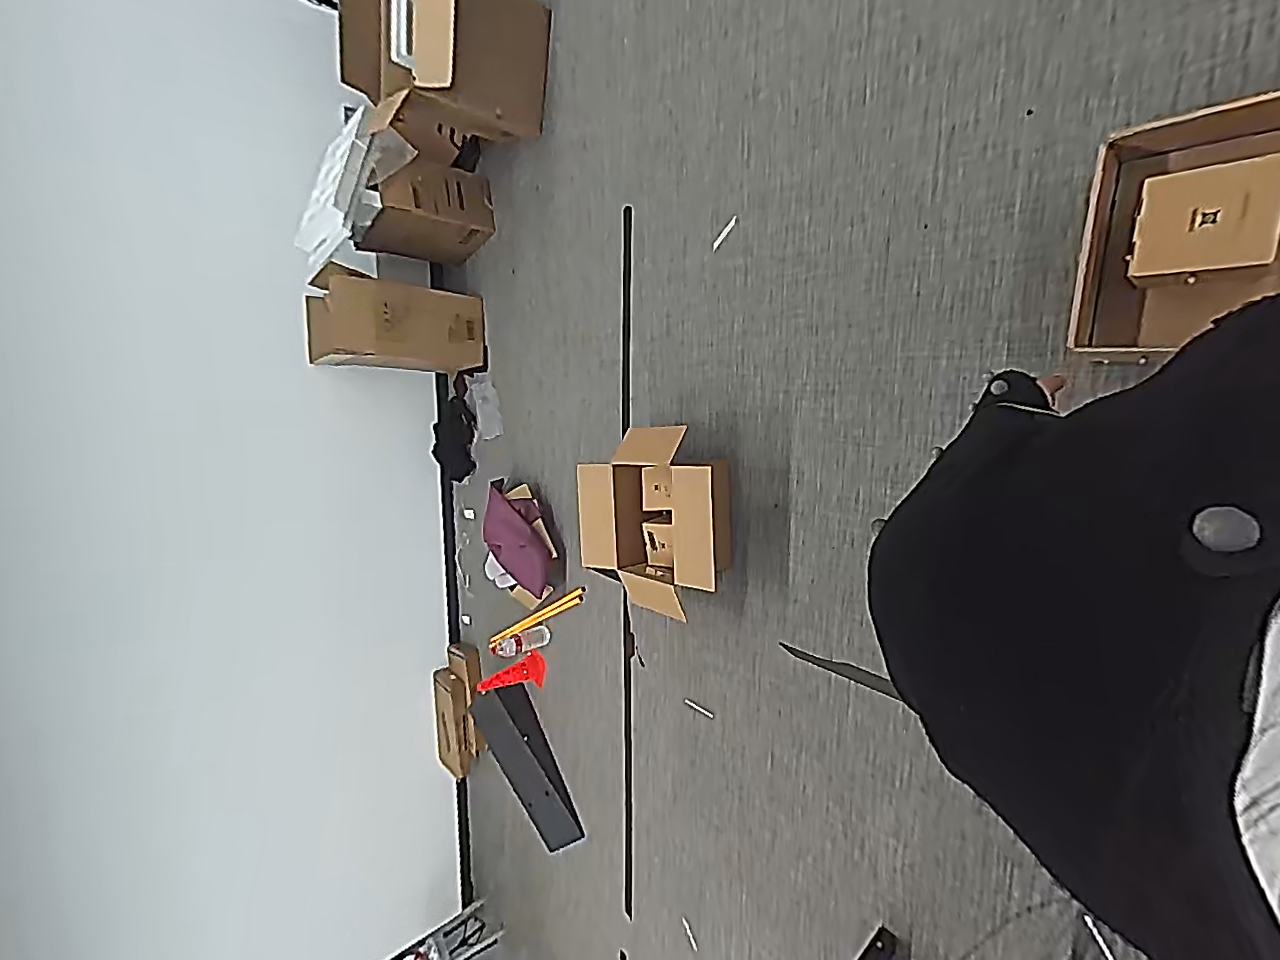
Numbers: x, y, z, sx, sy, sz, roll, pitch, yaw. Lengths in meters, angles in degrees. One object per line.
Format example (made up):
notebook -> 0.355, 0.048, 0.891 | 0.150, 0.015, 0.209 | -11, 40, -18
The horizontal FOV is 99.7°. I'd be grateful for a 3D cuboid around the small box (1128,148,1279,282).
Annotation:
small box -> 0.992, -0.448, 0.943 | 0.179, 0.176, 0.168 | 11, 106, 45
